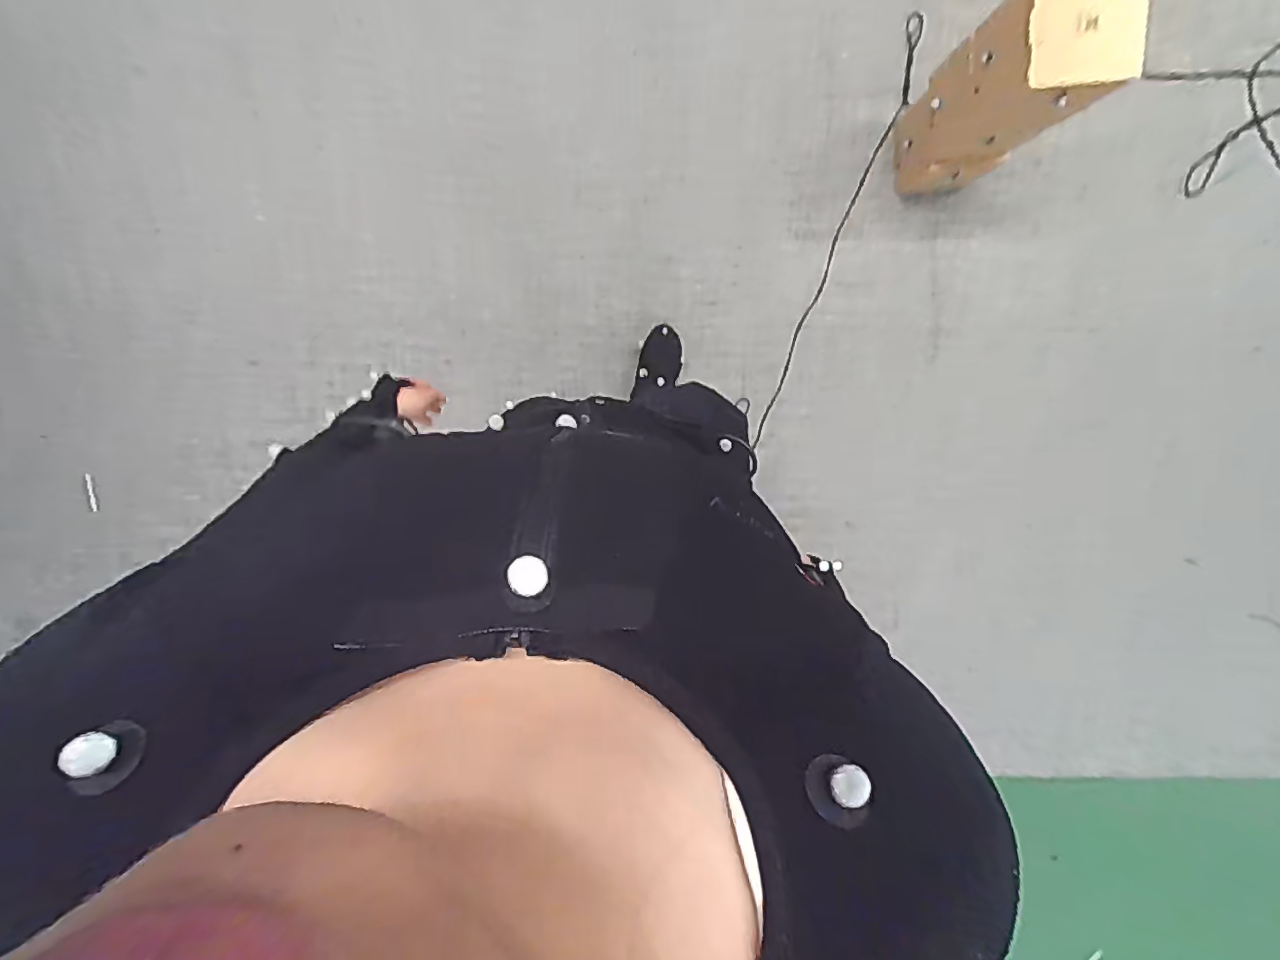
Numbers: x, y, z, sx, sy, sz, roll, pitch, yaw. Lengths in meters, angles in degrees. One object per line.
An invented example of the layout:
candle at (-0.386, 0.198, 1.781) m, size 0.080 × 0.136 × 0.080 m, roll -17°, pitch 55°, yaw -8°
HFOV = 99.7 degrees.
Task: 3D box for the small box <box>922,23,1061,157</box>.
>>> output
small box at (0.686, -0.757, 1.060) m, size 0.179 × 0.176 × 0.168 m, roll -4°, pitch 101°, yaw 3°

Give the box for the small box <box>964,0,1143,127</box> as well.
small box at (0.679, -0.719, 0.902) m, size 0.179 × 0.176 × 0.168 m, roll -4°, pitch 101°, yaw 3°

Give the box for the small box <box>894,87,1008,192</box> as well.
small box at (0.693, -0.772, 1.224) m, size 0.179 × 0.176 × 0.168 m, roll -7°, pitch 102°, yaw 2°
